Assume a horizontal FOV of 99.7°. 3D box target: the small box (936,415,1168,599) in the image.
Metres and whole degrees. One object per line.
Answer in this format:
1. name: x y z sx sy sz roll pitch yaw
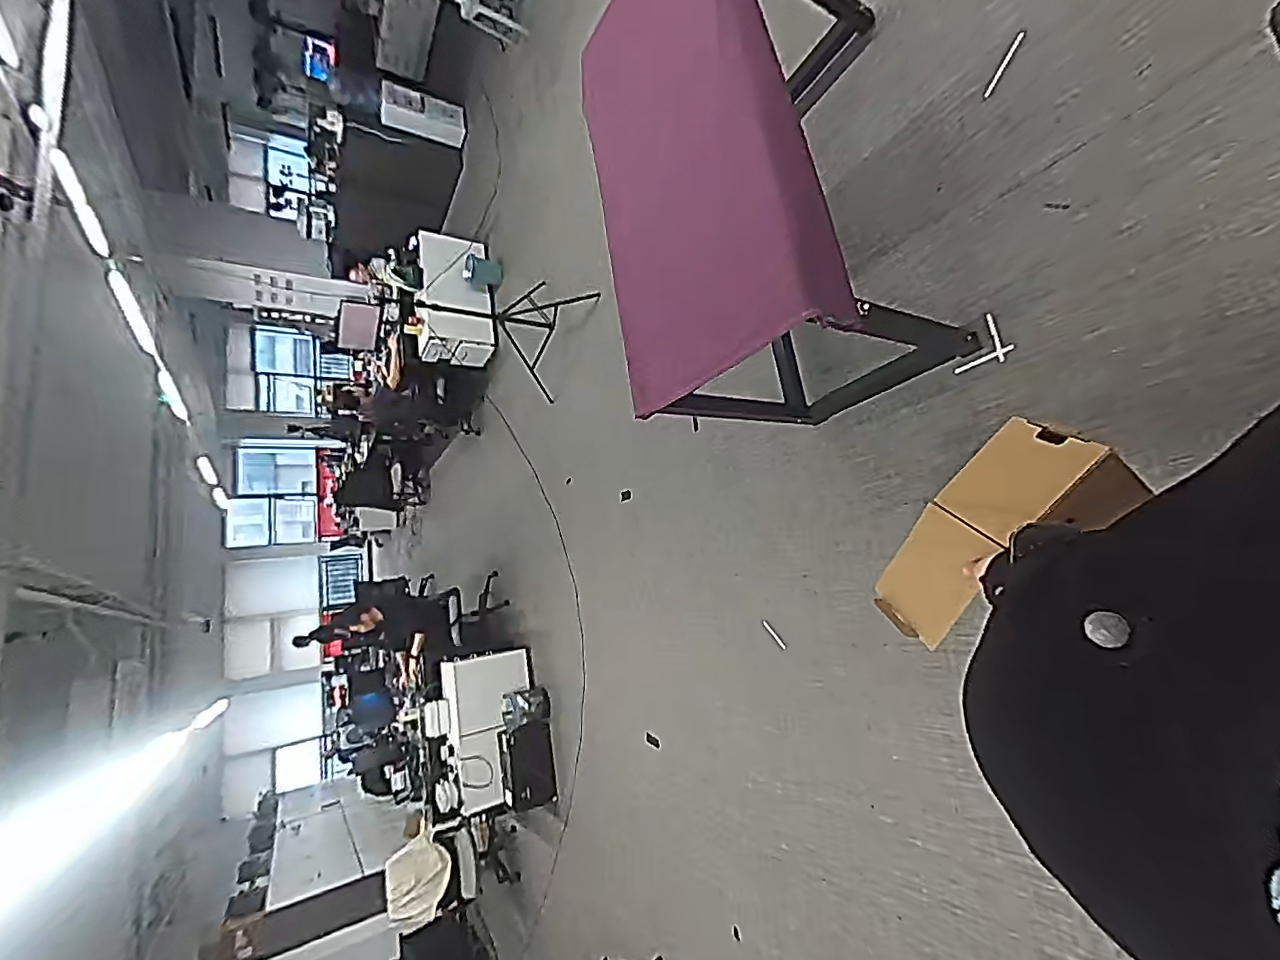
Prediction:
1. small box: 0.588 0.038 0.782 0.179 0.176 0.168 -52 18 13
